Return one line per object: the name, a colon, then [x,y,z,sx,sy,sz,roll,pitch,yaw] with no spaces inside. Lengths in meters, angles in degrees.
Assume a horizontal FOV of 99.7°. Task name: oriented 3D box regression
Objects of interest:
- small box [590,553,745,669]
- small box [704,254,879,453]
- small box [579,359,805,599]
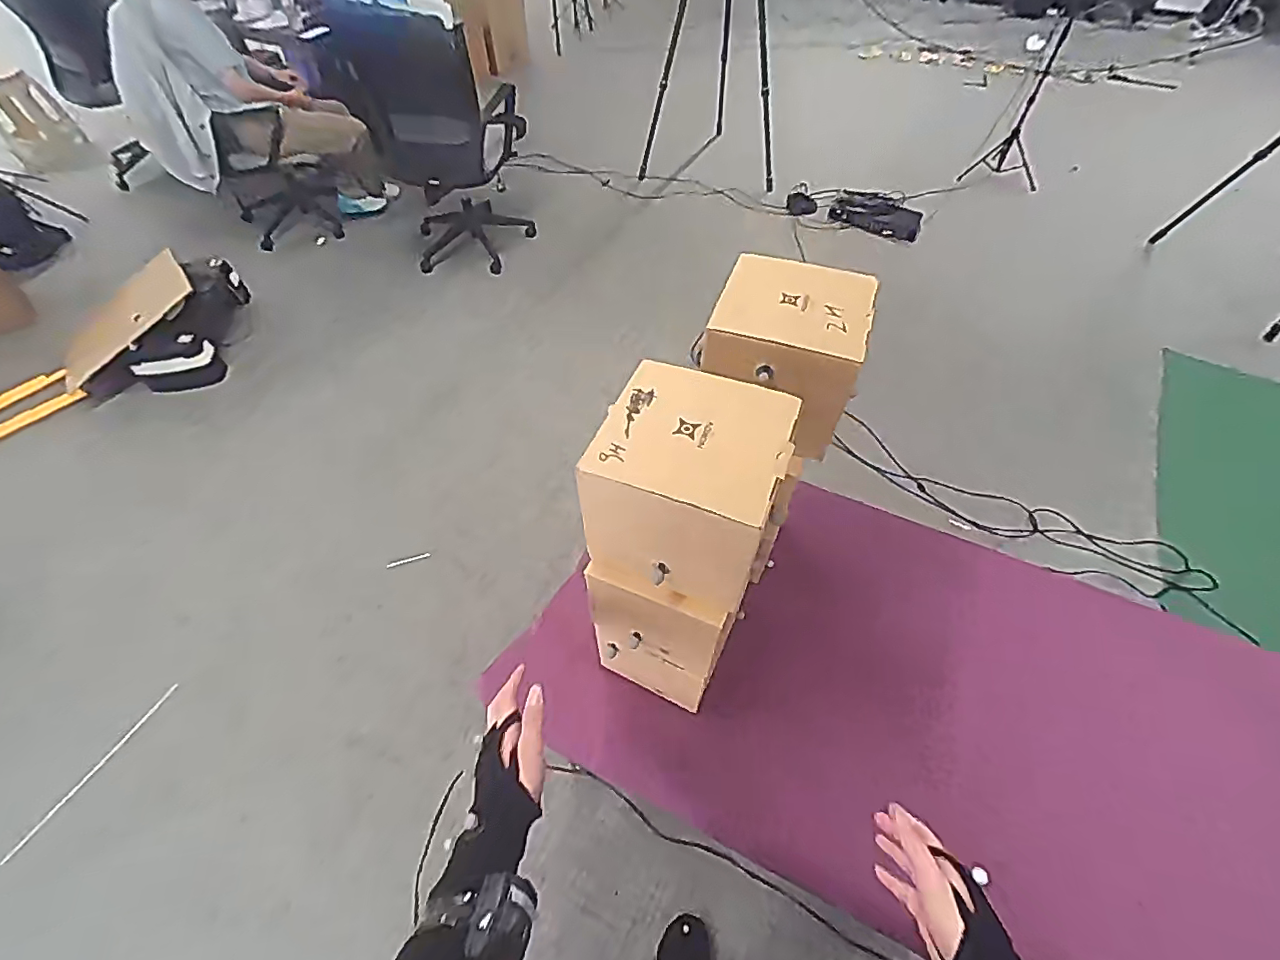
small box: [0.050,0.113,0.700,0.168,0.176,0.179,19,56,15]
small box: [0.183,-0.159,0.696,0.179,0.176,0.168,17,56,12]
small box: [0.054,0.005,0.577,0.179,0.176,0.168,19,55,14]
